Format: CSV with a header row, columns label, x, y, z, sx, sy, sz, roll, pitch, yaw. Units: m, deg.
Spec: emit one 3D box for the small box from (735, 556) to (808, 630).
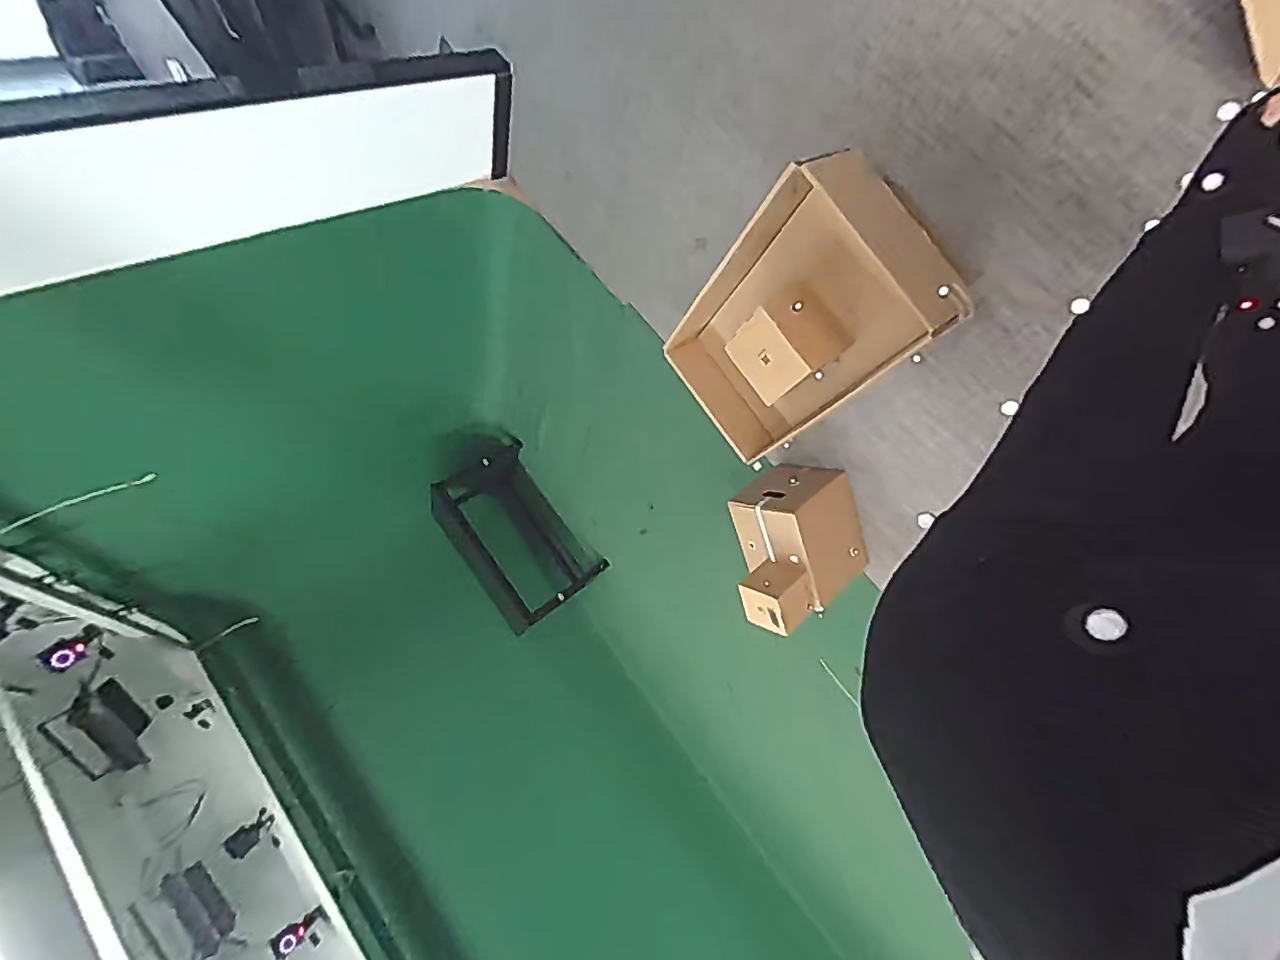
label,x,y,z,sx,sy,sz,roll,pitch,yaw
small box,0.467,0.387,1.890,0.179,0.176,0.168,12,128,51
